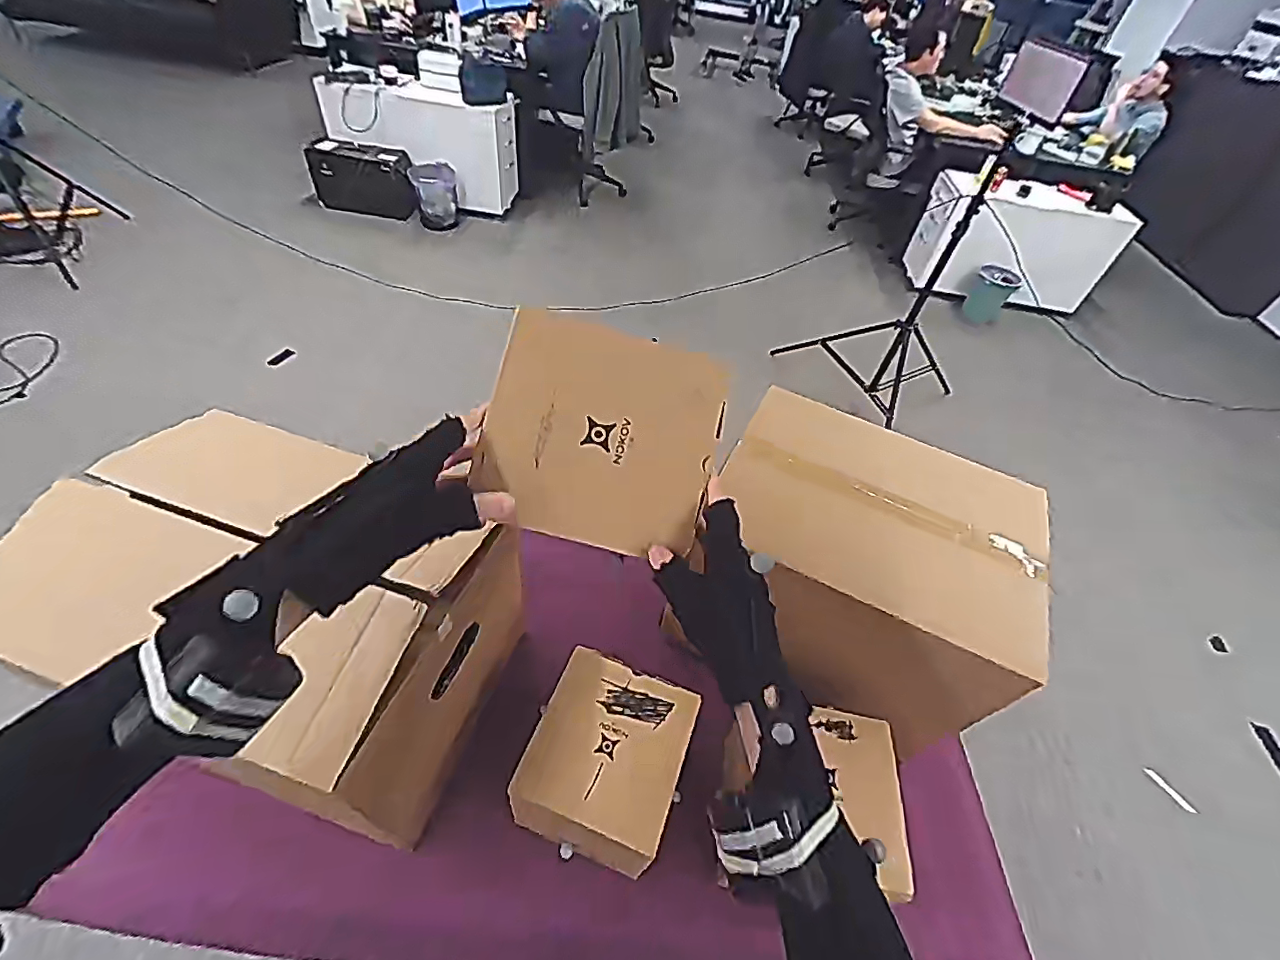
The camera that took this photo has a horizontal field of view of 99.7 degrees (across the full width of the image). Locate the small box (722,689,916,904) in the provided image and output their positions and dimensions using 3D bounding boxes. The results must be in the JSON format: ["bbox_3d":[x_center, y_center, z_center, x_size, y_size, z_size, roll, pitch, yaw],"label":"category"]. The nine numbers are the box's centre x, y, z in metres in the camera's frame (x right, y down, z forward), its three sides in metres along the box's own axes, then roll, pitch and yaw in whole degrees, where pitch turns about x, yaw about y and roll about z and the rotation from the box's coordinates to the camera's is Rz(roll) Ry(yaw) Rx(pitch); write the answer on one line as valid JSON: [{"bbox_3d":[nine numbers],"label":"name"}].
[{"bbox_3d":[0.198,0.382,0.647,0.168,0.176,0.179,12,48,2],"label":"small box"}]

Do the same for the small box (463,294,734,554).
[{"bbox_3d":[-0.037,-0.034,0.487,0.179,0.176,0.168,14,80,-6],"label":"small box"}]
